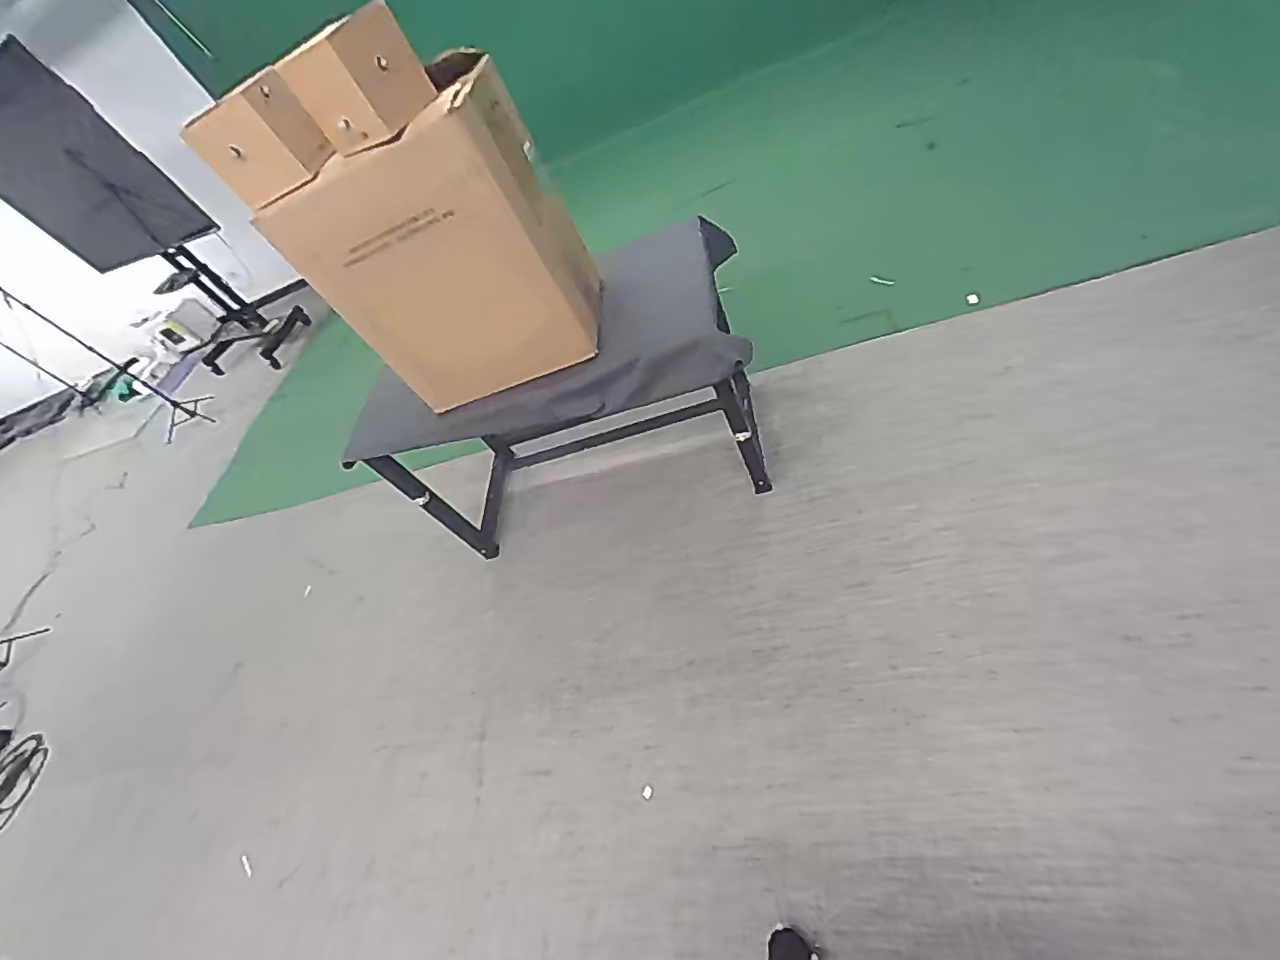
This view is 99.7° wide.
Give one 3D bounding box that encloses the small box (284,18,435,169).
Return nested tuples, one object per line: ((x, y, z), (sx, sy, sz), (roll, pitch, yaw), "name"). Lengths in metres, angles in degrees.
((-0.541, -0.757, 1.072), (0.168, 0.176, 0.179), (4, 57, 31), "small box")

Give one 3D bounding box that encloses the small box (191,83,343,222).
((-0.780, -0.687, 1.148), (0.179, 0.176, 0.168), (-18, 49, 18), "small box")
